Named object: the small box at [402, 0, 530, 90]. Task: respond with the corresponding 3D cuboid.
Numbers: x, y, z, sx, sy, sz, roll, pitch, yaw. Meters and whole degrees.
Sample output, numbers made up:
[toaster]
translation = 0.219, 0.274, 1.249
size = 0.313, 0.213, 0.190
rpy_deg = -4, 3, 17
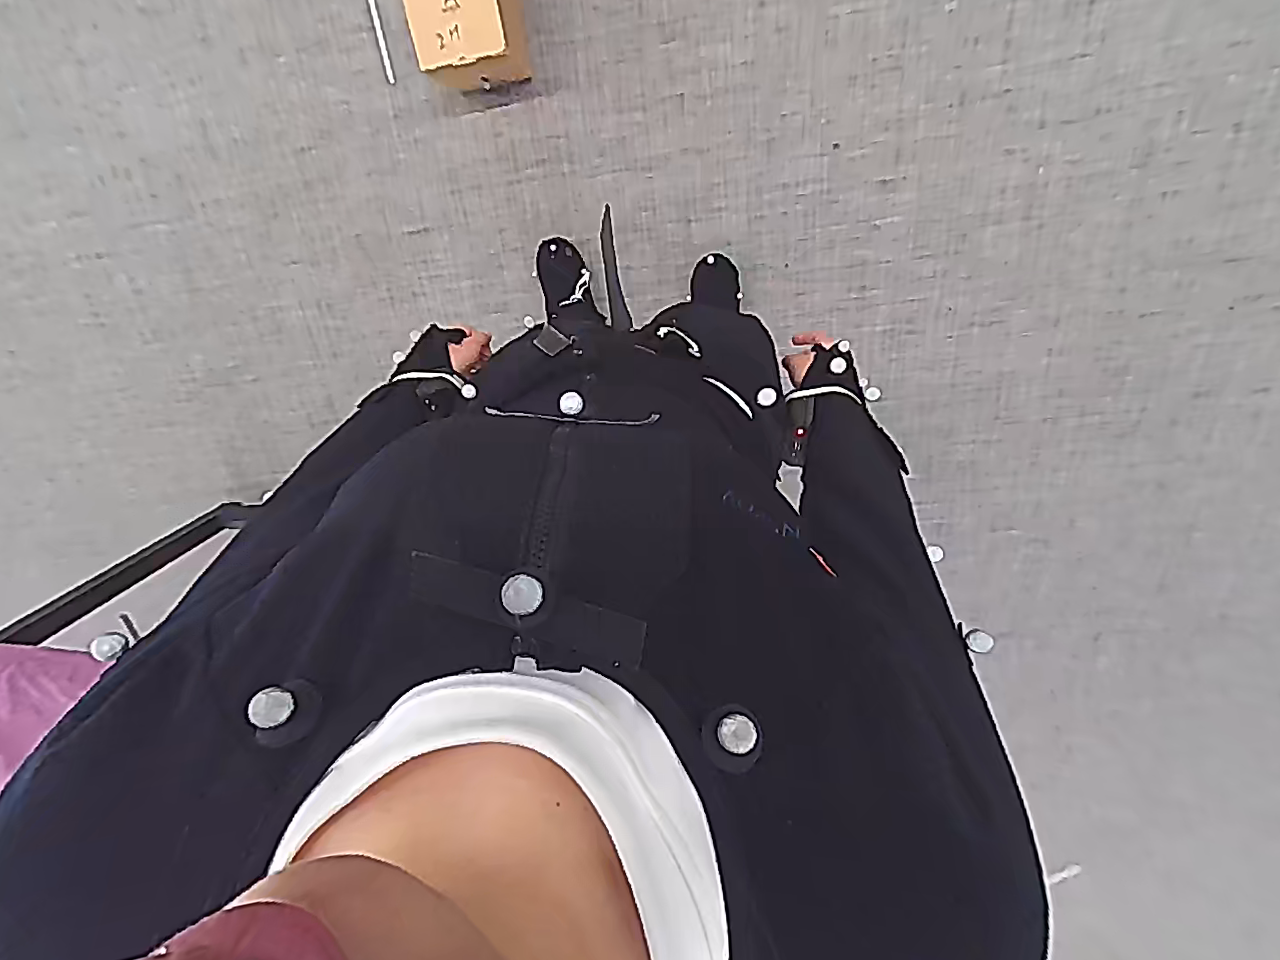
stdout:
[small box]
translation = -0.315, -0.845, 0.982
size = 0.168, 0.176, 0.179
rpy_deg = -5, 114, 9
